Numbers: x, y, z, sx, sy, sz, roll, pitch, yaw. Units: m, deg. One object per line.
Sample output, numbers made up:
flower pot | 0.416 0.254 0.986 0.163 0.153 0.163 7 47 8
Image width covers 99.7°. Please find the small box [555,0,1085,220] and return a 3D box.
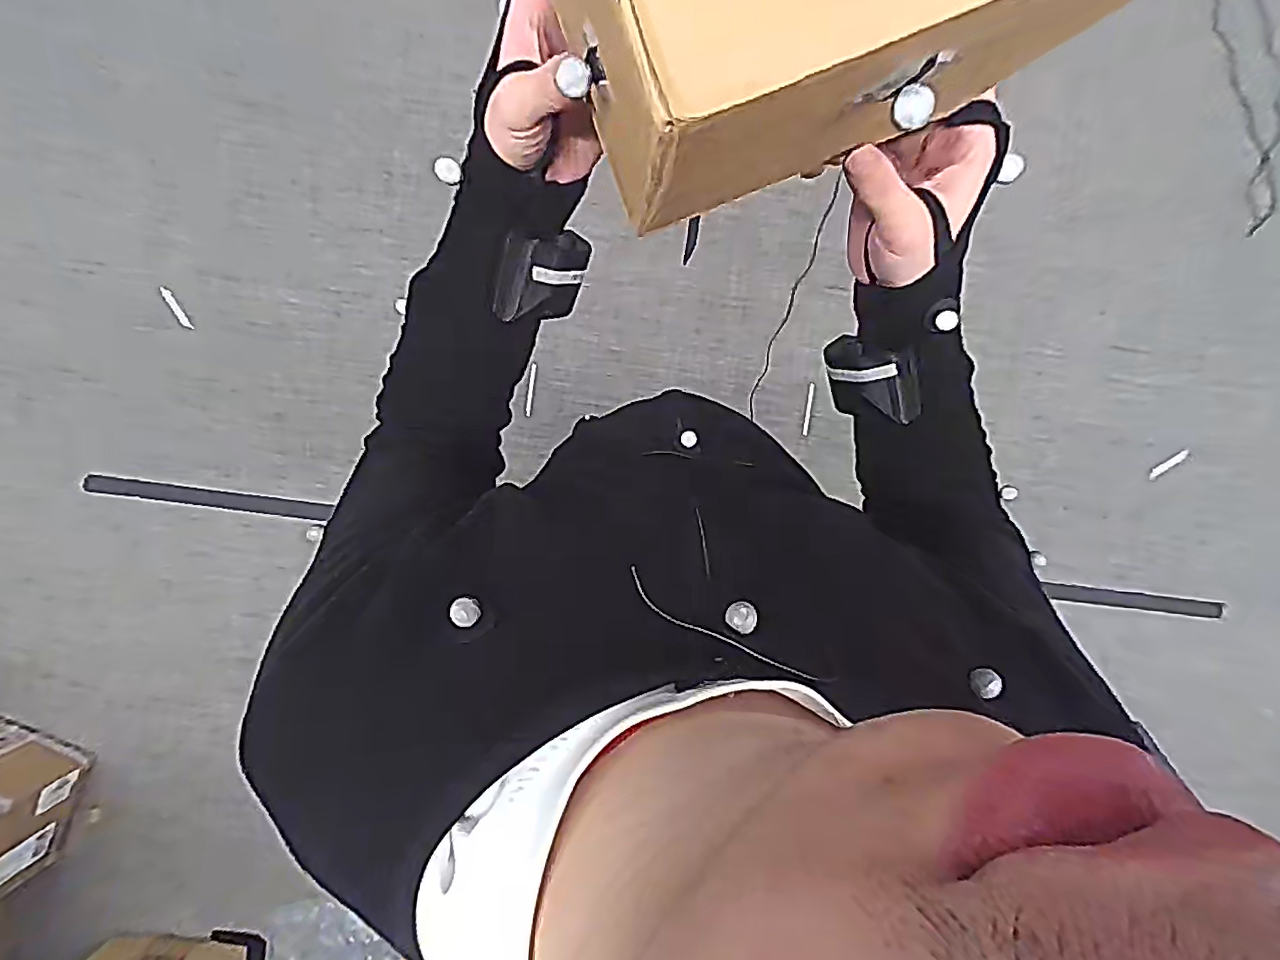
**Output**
small box | 0.052 -0.215 0.193 0.179 0.176 0.168 -20 106 2
